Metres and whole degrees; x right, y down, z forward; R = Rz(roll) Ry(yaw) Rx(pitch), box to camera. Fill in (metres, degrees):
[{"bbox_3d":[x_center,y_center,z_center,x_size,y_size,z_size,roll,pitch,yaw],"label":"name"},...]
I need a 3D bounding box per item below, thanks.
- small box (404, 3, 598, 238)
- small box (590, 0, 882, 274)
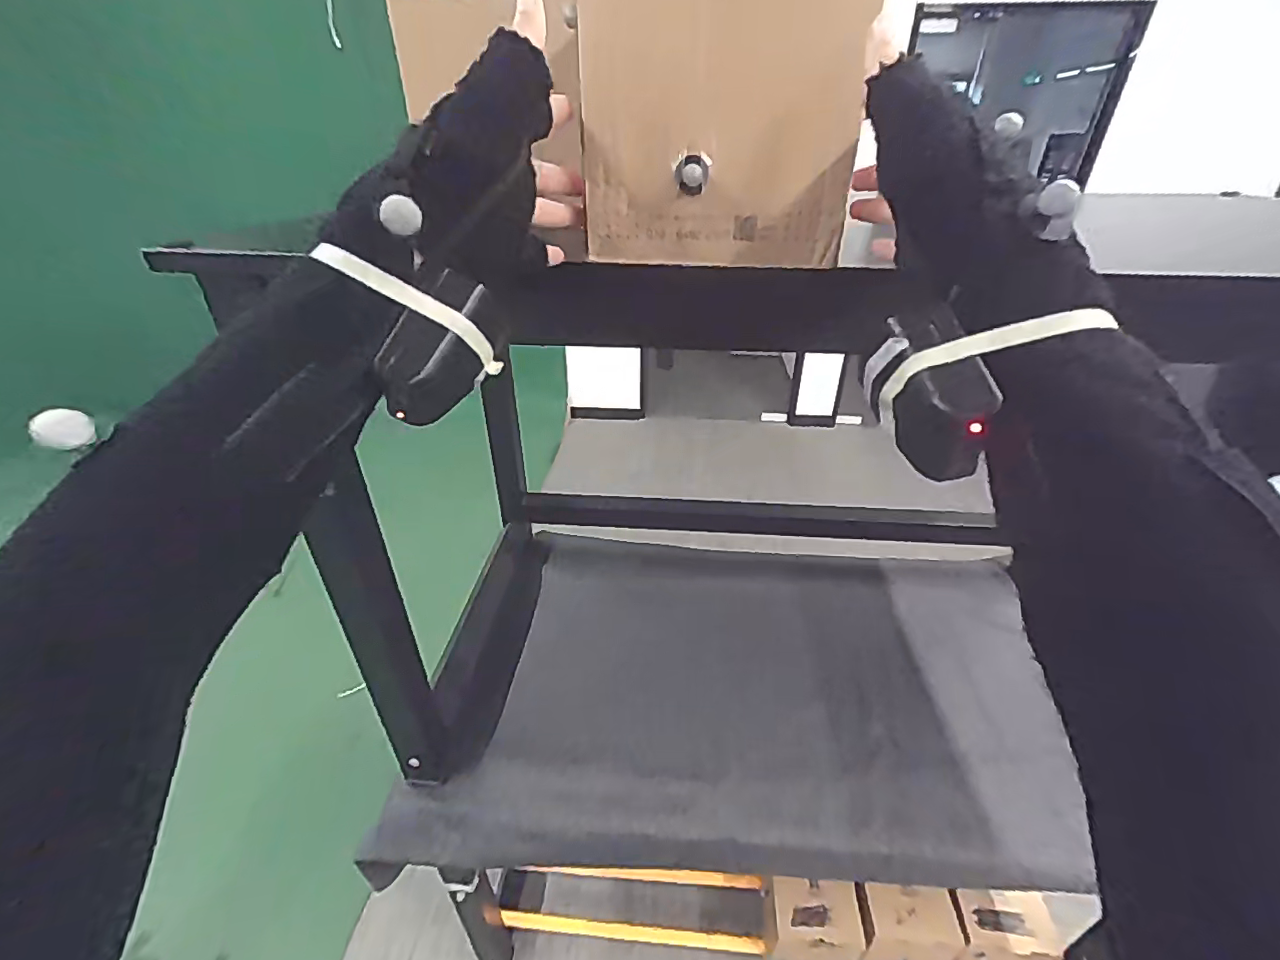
[{"bbox_3d":[-0.105,-0.346,0.537,0.168,0.176,0.179,0,33,1],"label":"small box"},{"bbox_3d":[0.057,-0.259,0.399,0.168,0.176,0.179,3,32,4],"label":"small box"}]
